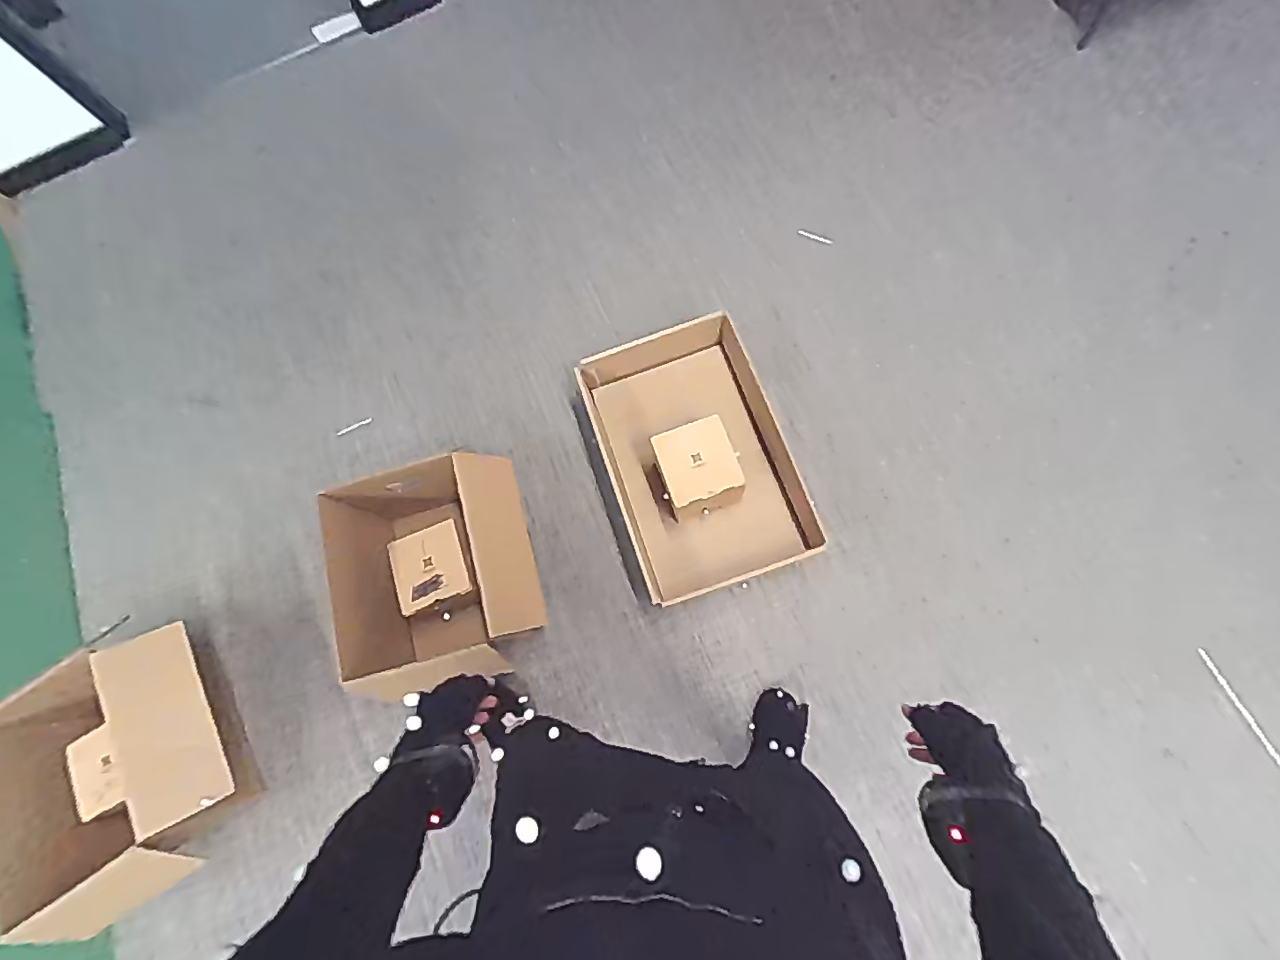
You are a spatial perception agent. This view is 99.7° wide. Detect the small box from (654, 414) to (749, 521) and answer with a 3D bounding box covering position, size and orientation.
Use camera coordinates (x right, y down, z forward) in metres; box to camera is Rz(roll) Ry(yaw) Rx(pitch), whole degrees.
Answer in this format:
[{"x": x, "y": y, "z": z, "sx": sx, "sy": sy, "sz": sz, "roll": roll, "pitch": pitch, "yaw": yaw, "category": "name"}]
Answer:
[{"x": 0.141, "y": -0.023, "z": 1.263, "sx": 0.168, "sy": 0.176, "sz": 0.179, "roll": -20, "pitch": 73, "yaw": 1, "category": "small box"}]
